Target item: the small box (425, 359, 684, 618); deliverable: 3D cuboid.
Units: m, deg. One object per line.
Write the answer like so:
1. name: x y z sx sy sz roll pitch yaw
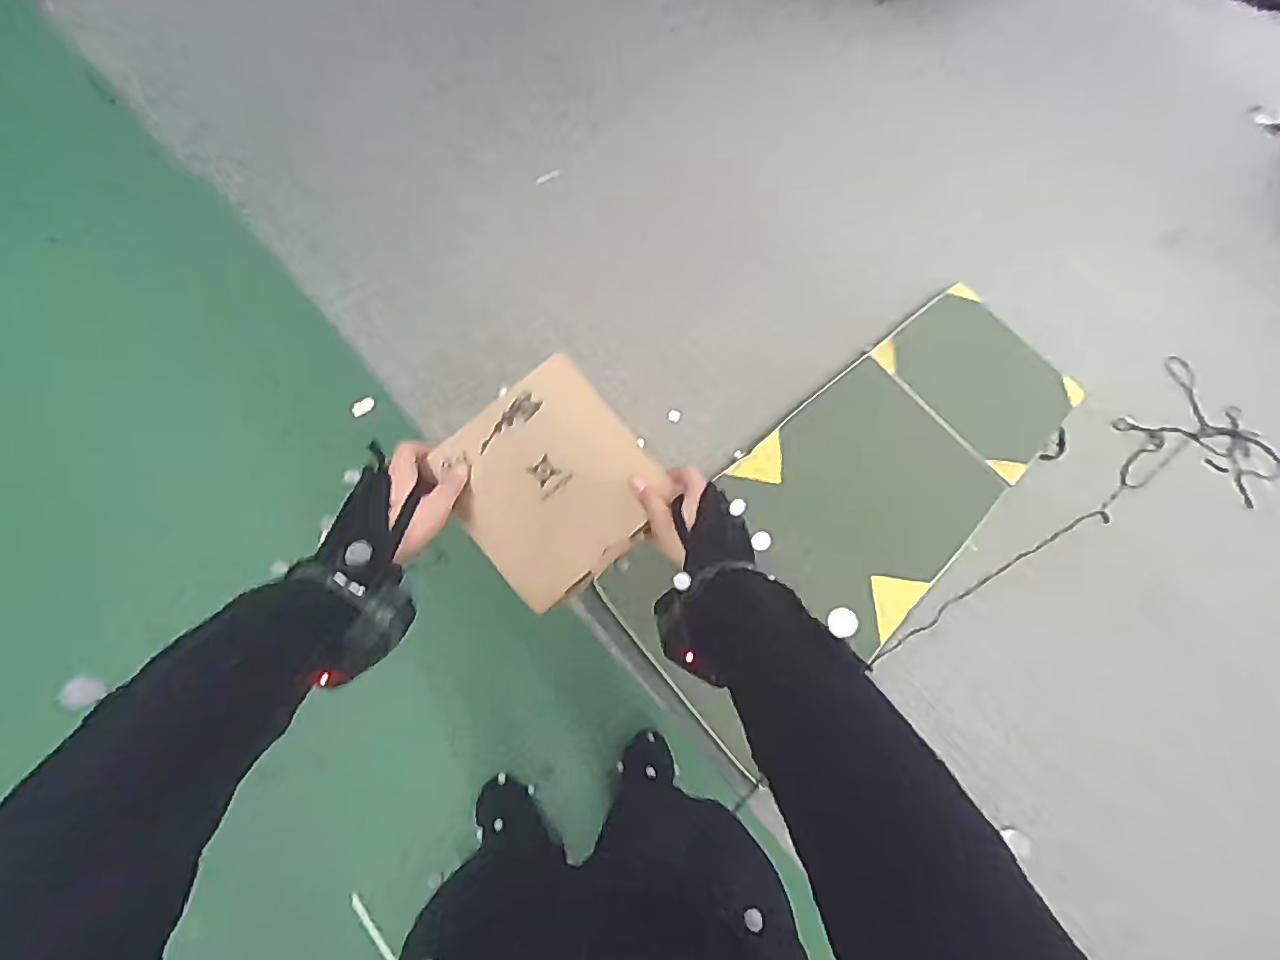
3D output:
1. small box: -0.077 0.013 0.556 0.168 0.176 0.179 -39 85 -7
